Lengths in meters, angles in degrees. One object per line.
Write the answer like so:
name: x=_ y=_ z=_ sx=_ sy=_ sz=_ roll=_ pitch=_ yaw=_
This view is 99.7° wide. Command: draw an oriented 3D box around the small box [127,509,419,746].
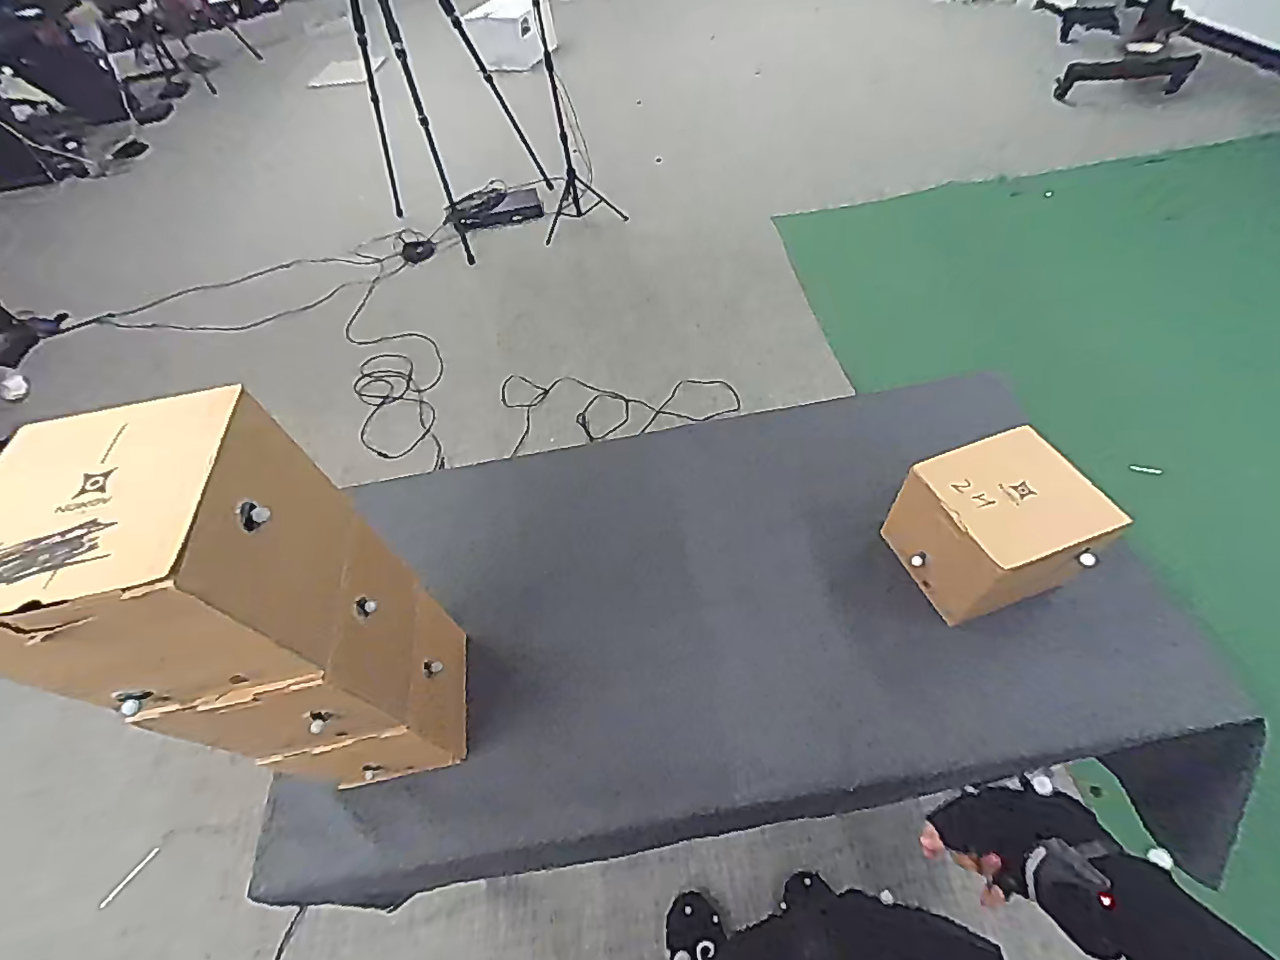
small box: x=-0.343 y=0.158 z=0.553 sx=0.168 sy=0.176 sz=0.179 roll=-11 pitch=53 yaw=-2

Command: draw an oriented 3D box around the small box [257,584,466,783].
small box: x=-0.329 y=0.258 z=0.681 sx=0.168 sy=0.176 sz=0.179 roll=-12 pitch=53 yaw=-2

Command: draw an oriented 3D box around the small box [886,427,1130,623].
small box: x=0.463 y=0.063 z=0.716 sx=0.179 sy=0.176 sz=0.168 roll=-19 pitch=53 yaw=-6

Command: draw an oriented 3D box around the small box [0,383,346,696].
small box: x=-0.360 y=0.055 z=0.427 sx=0.168 sy=0.176 sz=0.179 roll=-12 pitch=53 yaw=-3
